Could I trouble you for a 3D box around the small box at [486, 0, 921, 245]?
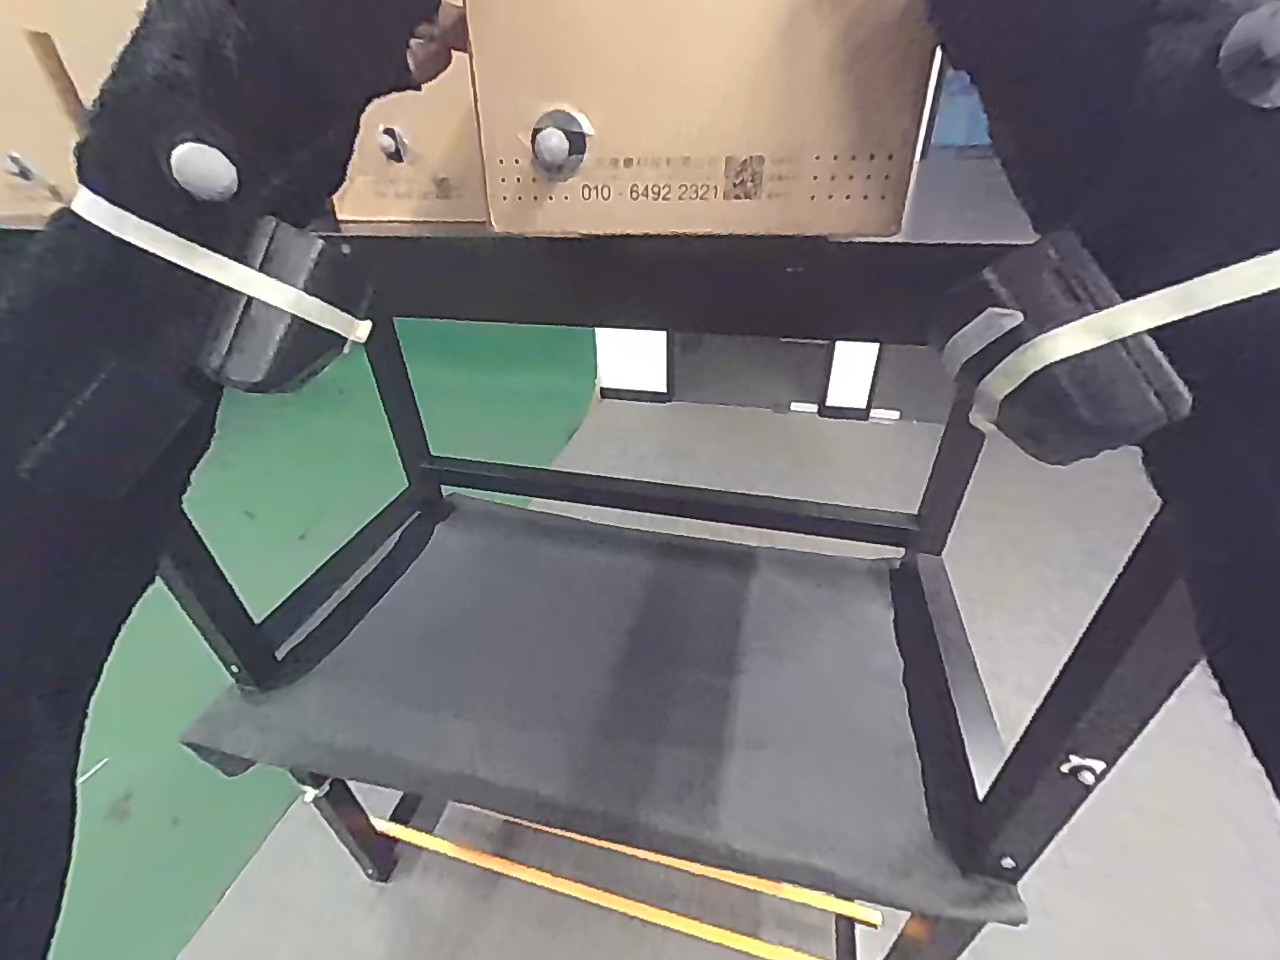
[{"bbox_3d":[0.031,-0.211,0.268,0.168,0.176,0.179,4,26,6],"label":"small box"}]
